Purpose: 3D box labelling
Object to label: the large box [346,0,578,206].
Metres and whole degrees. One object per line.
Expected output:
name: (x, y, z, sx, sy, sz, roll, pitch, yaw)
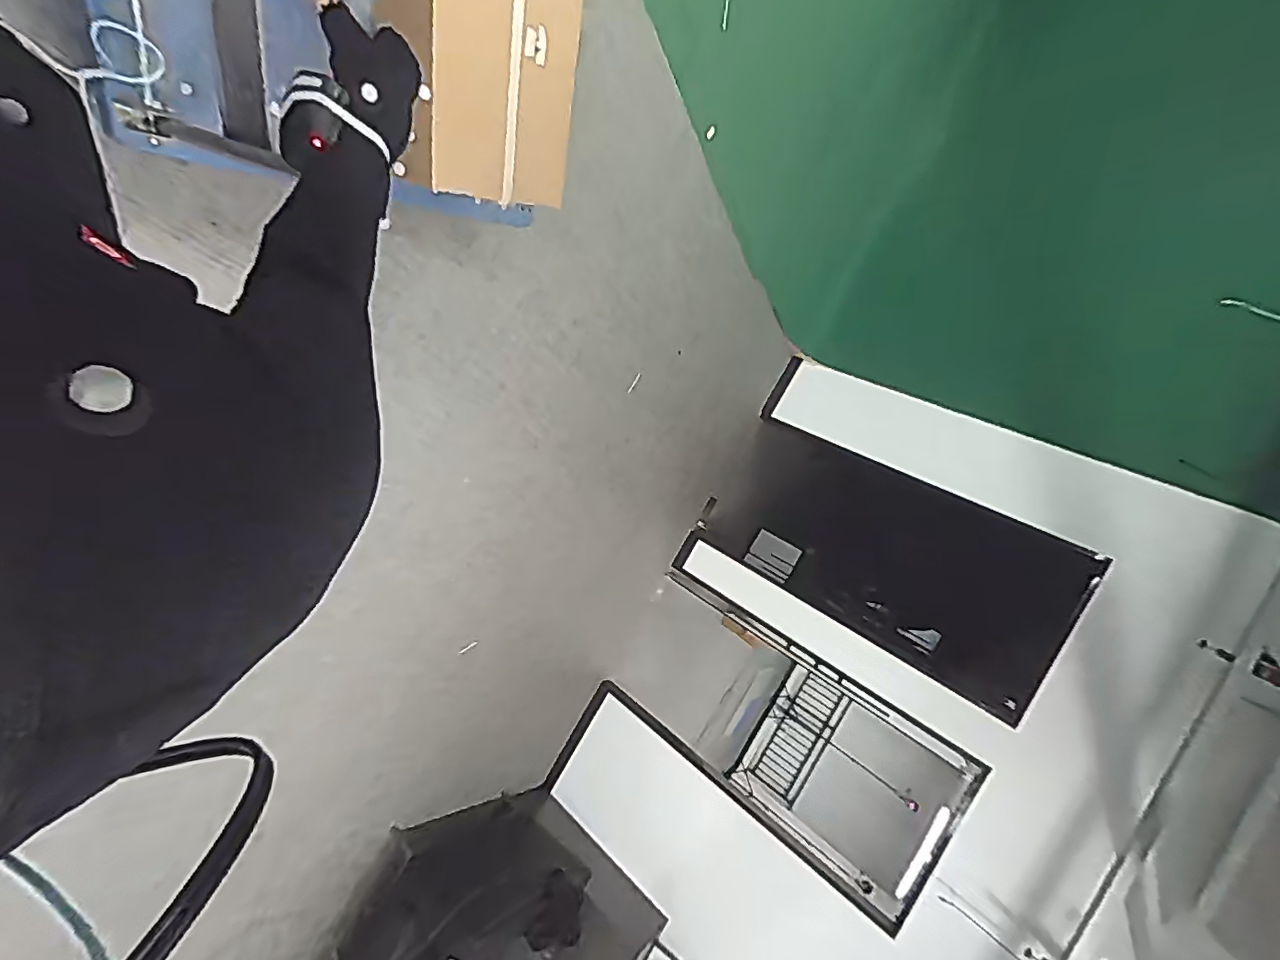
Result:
large box: (-0.352, -0.794, 1.070, 0.320, 0.320, 0.408, -22, 132, -46)
